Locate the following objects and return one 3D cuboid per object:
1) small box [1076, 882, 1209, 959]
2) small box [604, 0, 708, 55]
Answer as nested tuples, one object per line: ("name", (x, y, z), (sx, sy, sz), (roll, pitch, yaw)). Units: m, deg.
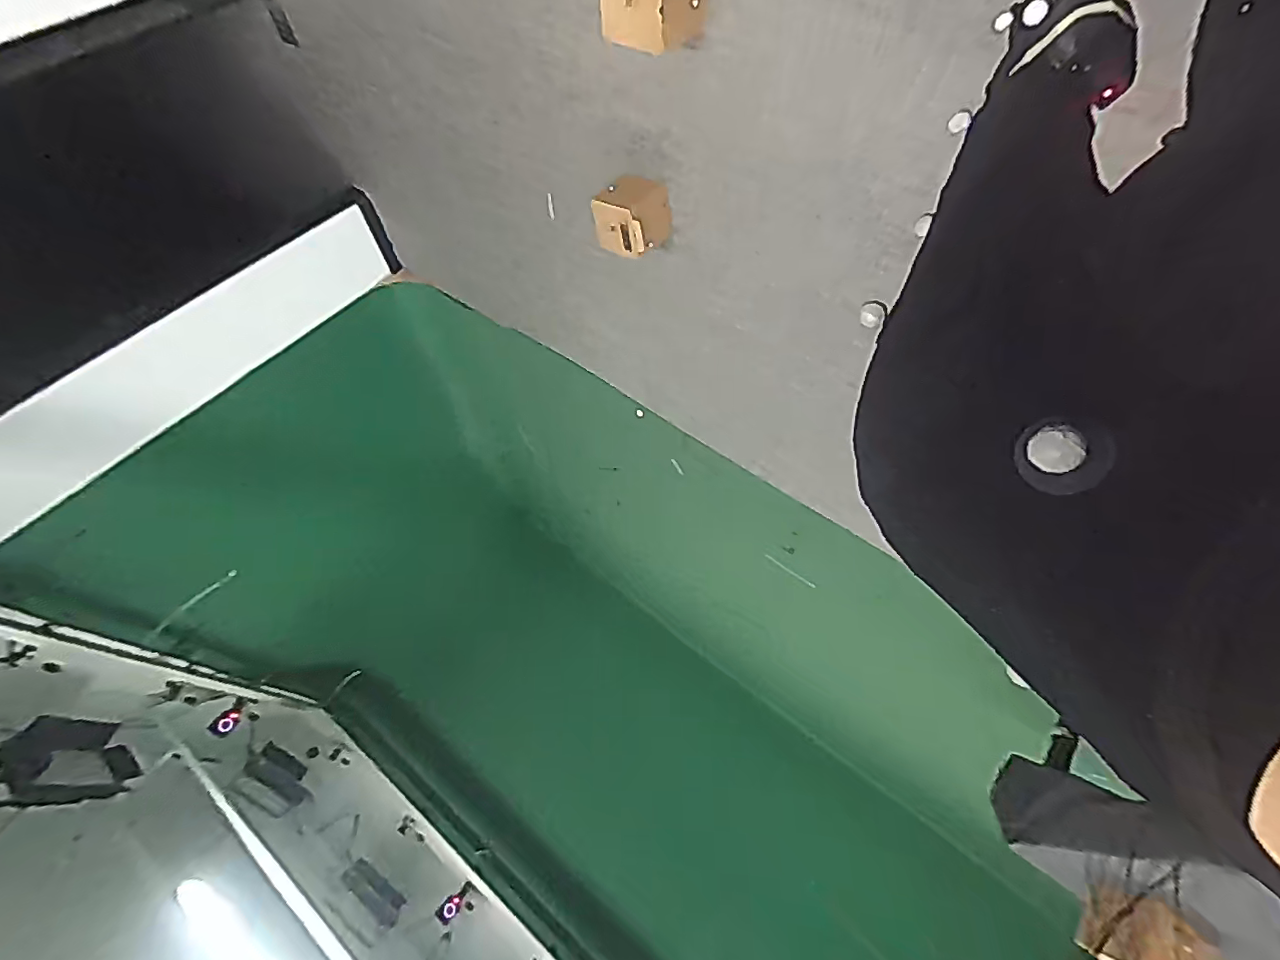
("small box", (1.273, 1.169, 1.370), (0.168, 0.176, 0.179), (38, 155, 4))
("small box", (0.037, -1.087, 1.197), (0.179, 0.176, 0.168), (32, 154, 19))
